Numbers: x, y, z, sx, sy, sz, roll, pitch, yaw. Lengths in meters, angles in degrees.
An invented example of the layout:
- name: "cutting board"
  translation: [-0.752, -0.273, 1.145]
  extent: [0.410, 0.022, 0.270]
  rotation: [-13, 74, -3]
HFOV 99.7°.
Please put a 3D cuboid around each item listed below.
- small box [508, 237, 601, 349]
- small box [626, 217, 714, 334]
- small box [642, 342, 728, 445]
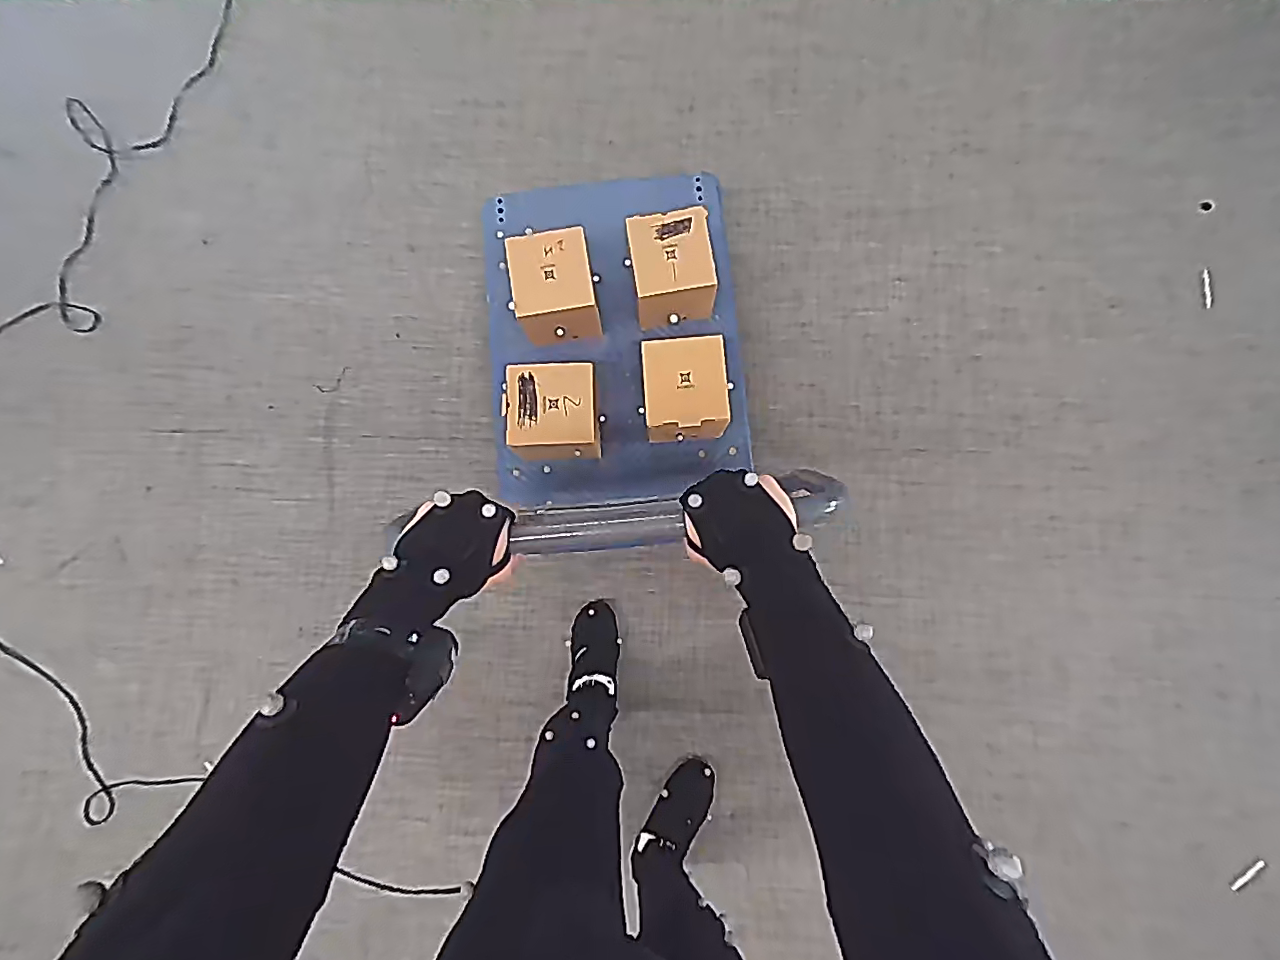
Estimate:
- name: "small box"
  translation: [-0.184, -0.405, 1.205]
  extent: [0.168, 0.176, 0.179]
  rotation: [-9, 83, 0]
- name: "small box"
  translation: [0.064, -0.448, 1.203]
  extent: [0.168, 0.176, 0.179]
  rotation: [-9, 84, 1]
- name: "small box"
  translation: [0.090, -0.180, 1.170]
  extent: [0.168, 0.176, 0.179]
  rotation: [-5, 83, 1]
